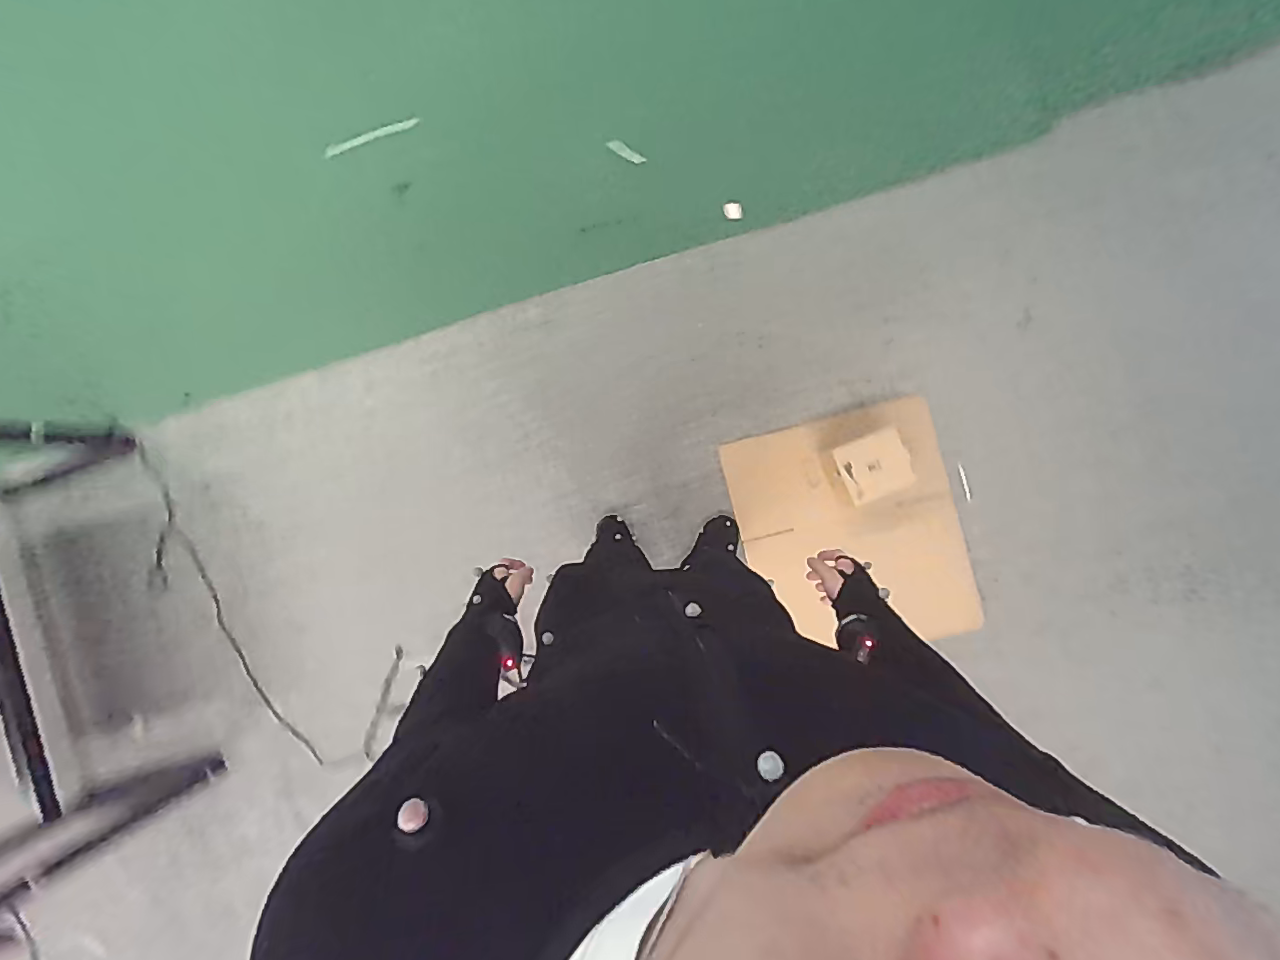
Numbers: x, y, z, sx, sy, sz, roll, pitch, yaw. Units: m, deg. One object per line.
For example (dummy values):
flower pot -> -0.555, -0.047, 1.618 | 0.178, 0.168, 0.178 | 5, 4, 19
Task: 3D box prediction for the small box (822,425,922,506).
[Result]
small box -> 0.622, -0.040, 1.470 | 0.179, 0.176, 0.168 | -22, 89, 6
